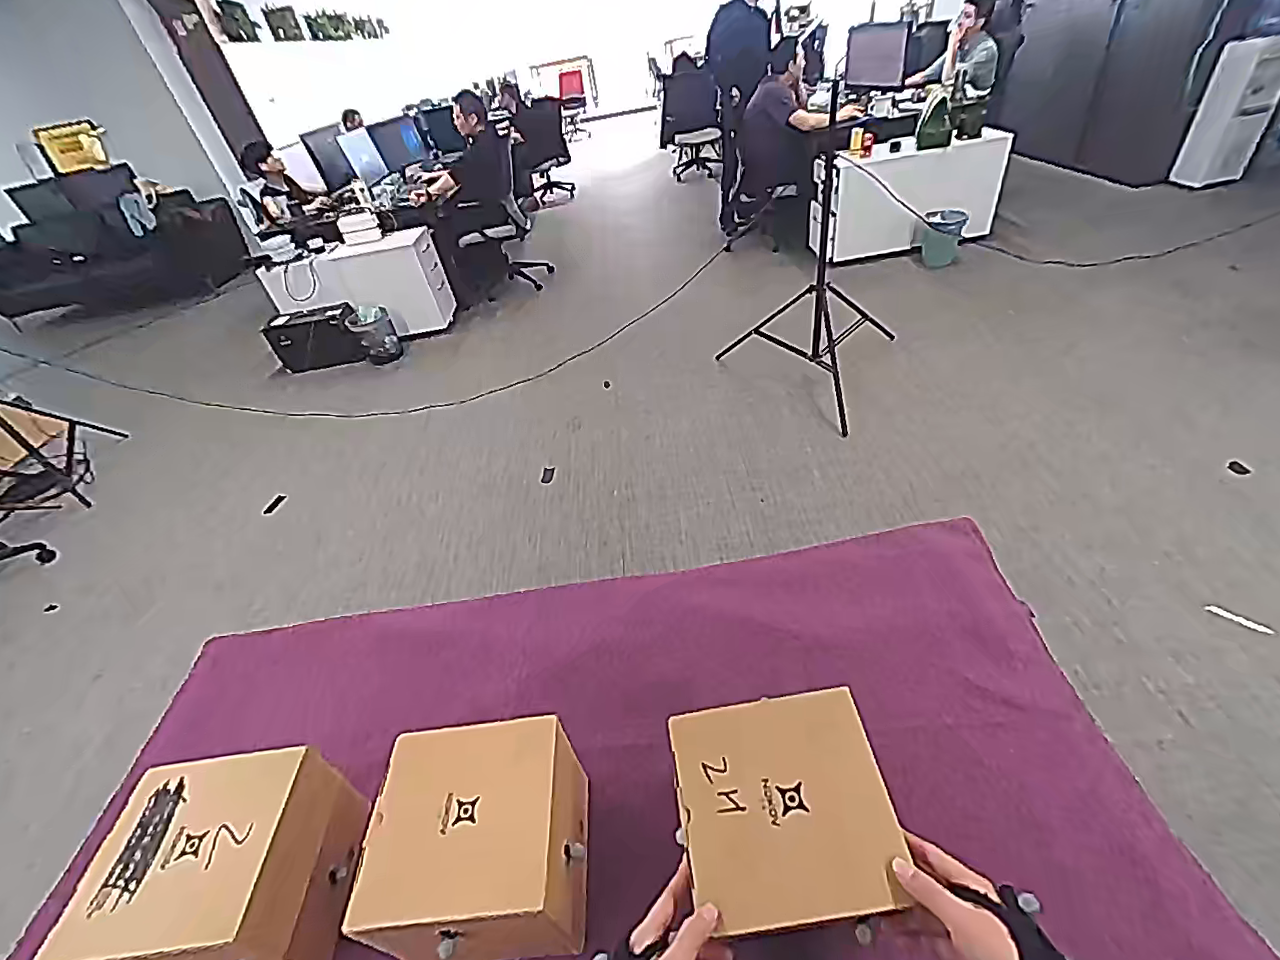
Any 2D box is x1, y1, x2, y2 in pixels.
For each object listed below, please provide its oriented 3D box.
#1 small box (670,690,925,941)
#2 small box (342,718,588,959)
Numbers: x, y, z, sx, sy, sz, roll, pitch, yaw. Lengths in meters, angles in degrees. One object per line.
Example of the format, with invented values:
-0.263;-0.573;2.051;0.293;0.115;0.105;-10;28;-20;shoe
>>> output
0.132;0.322;0.516;0.179;0.176;0.168;-11;48;3;small box
-0.153;0.370;0.553;0.179;0.176;0.168;-9;39;3;small box
